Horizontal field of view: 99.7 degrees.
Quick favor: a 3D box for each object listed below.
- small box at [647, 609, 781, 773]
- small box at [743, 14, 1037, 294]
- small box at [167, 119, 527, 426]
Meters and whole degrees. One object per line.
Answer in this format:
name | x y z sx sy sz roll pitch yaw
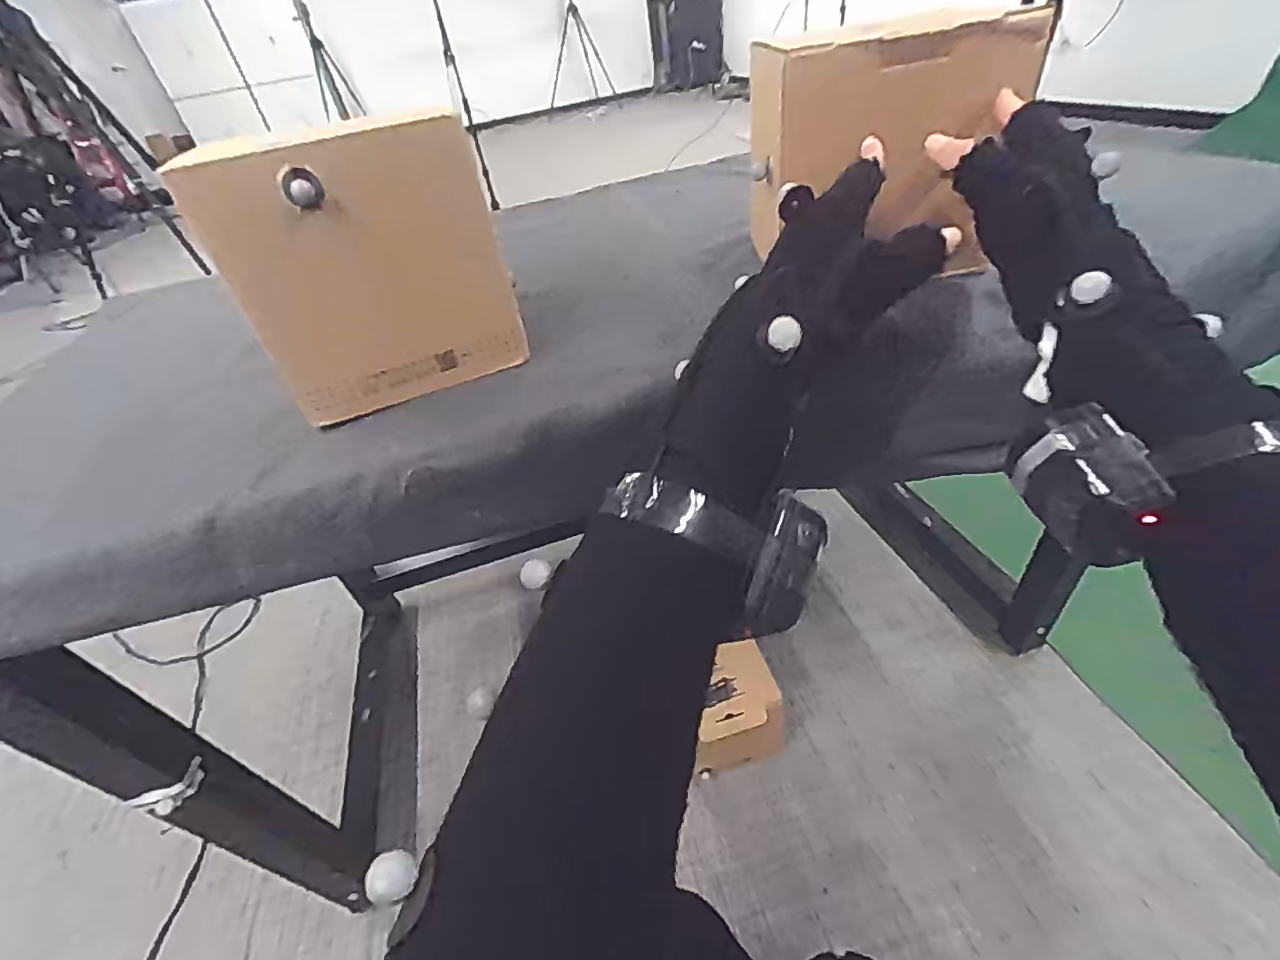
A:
small box | 0.121 0.348 0.879 0.168 0.176 0.179 -16 39 -5
small box | 0.181 -0.266 0.456 0.168 0.176 0.179 -5 39 6
small box | -0.203 -0.167 0.424 0.168 0.176 0.179 -22 39 -12
